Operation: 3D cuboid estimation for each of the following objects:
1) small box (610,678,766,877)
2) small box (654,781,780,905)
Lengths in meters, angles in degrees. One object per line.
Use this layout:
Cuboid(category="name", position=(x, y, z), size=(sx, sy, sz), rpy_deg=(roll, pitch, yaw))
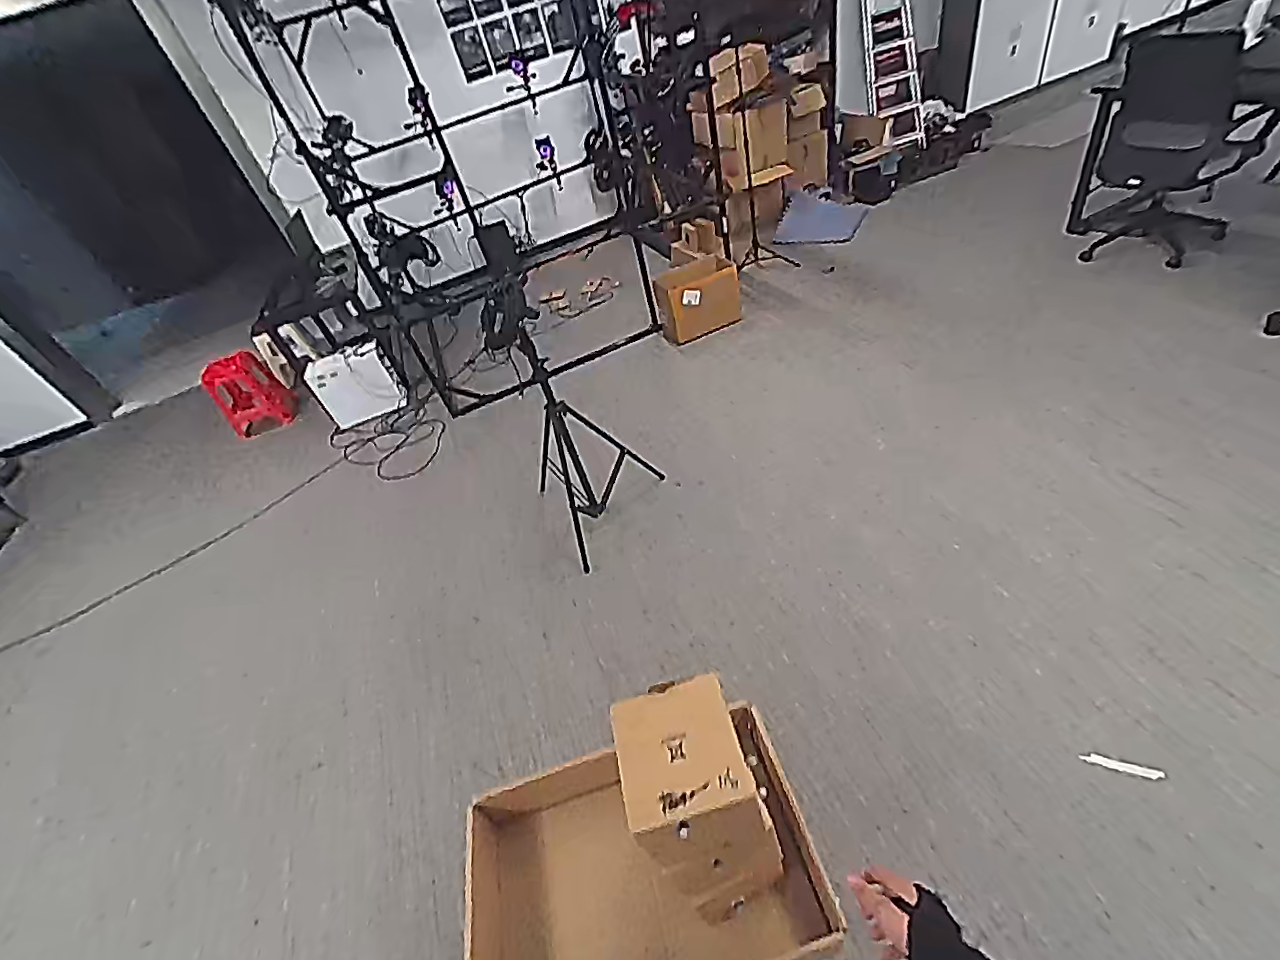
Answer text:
Cuboid(category="small box", position=(0.067, 0.421, 0.767), size=(0.168, 0.176, 0.179), rpy_deg=(-18, 39, 2))
Cuboid(category="small box", position=(0.107, 0.543, 0.869), size=(0.179, 0.176, 0.168), rpy_deg=(-22, 40, -3))
